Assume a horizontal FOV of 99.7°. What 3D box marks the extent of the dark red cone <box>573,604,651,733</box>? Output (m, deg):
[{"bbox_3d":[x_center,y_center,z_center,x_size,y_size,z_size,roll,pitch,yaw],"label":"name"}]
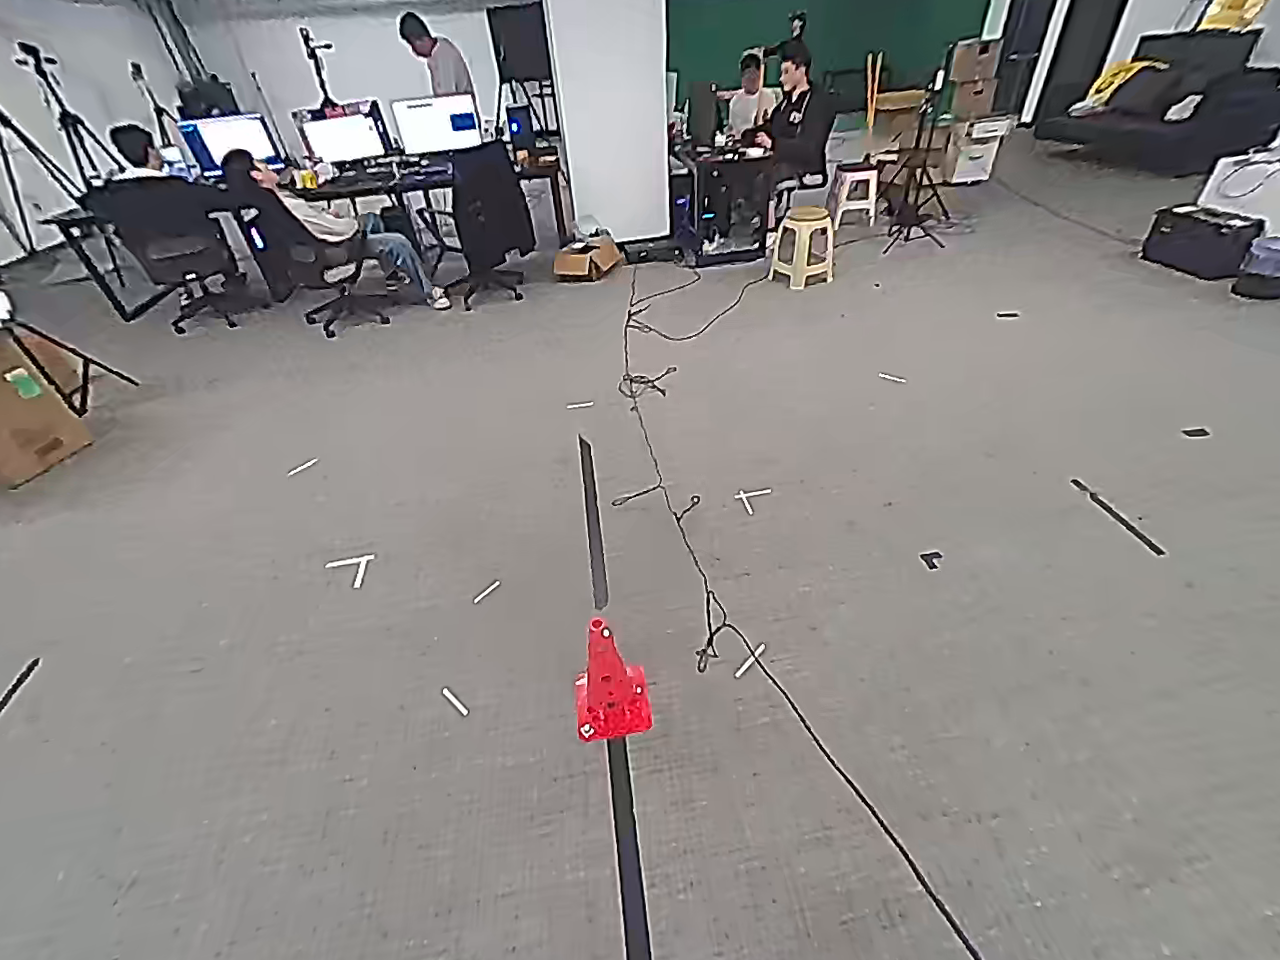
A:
[{"bbox_3d":[-0.088,0.463,1.388,0.201,0.394,0.202,-8,38,-5],"label":"dark red cone"}]
